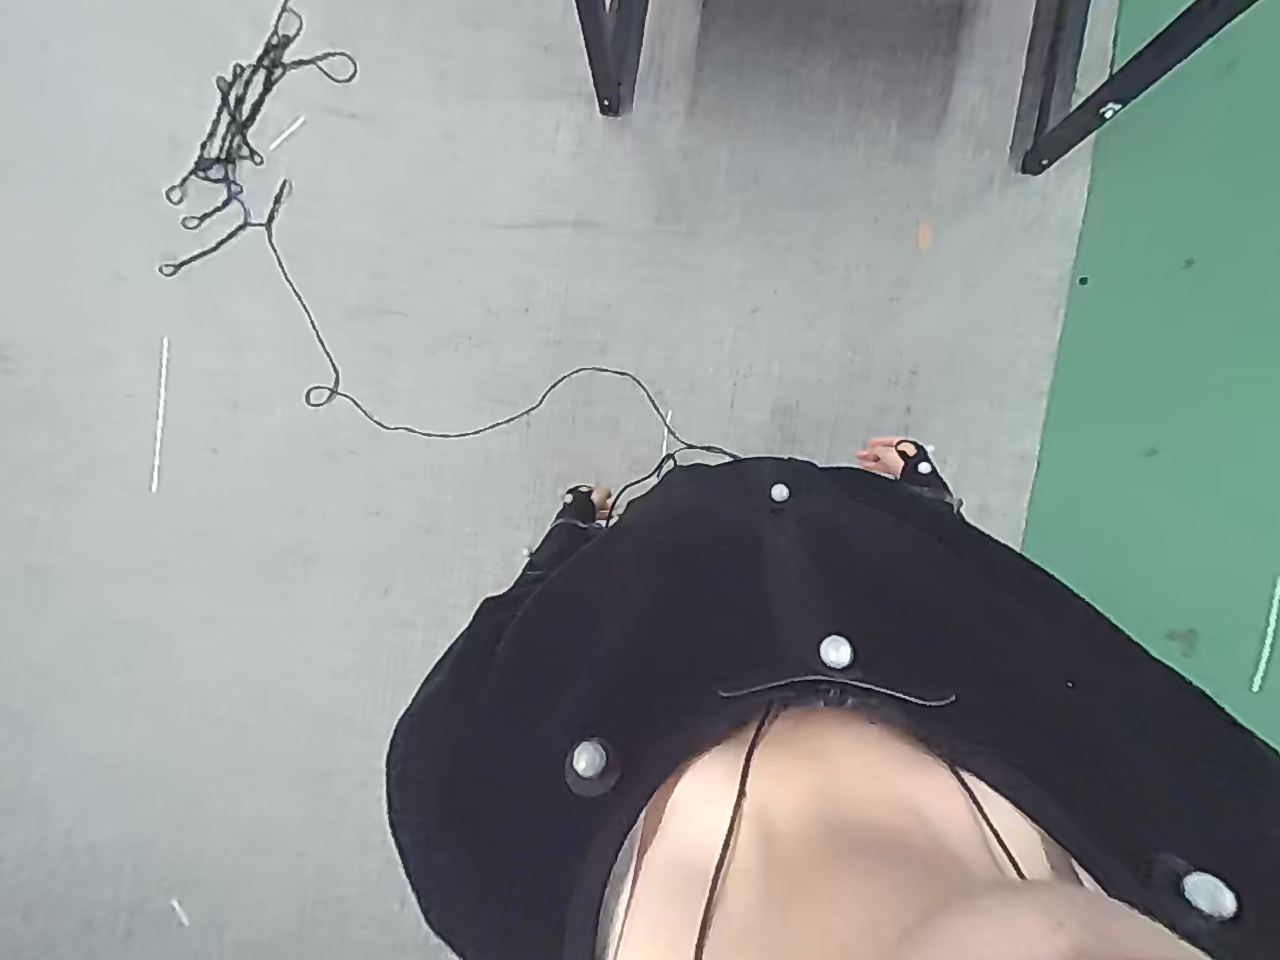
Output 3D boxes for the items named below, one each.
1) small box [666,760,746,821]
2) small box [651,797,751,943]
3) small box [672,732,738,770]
[{"bbox_3d":[0.145,0.775,1.251,0.179,0.176,0.168,5,90,7],"label":"small box"},{"bbox_3d":[0.122,0.771,1.089,0.179,0.176,0.168,5,89,7],"label":"small box"},{"bbox_3d":[0.162,0.785,1.413,0.168,0.176,0.179,4,92,7],"label":"small box"}]
